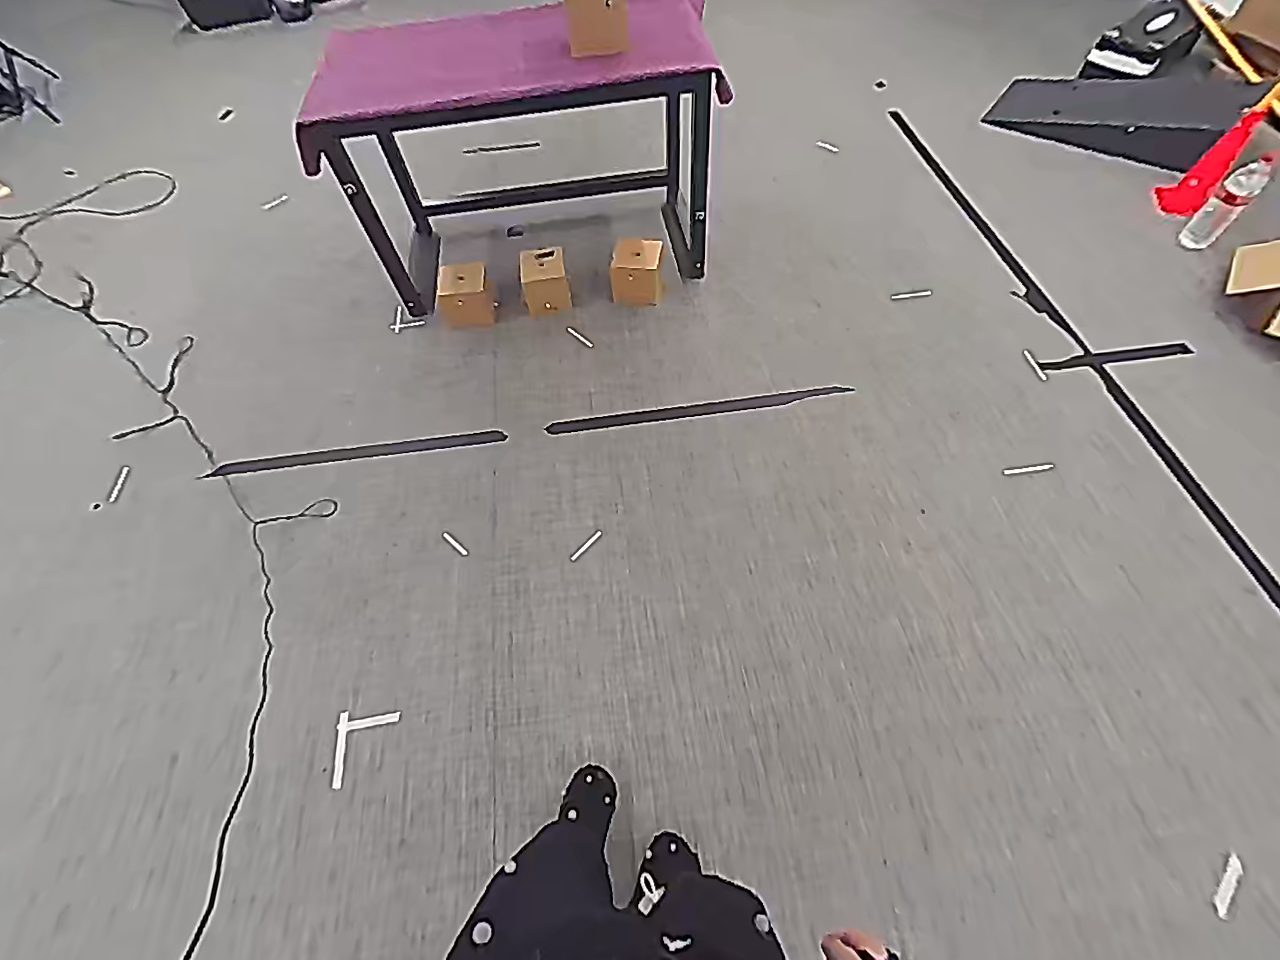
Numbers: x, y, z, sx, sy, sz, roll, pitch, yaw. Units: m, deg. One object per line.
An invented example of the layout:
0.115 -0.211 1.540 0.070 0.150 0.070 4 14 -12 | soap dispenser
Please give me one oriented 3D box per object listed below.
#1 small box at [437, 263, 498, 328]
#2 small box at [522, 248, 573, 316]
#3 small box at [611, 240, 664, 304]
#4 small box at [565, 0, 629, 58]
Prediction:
-0.658 -0.706 2.081 0.179 0.176 0.168 -7 60 -1 | small box
-0.358 -0.764 2.091 0.168 0.176 0.179 -9 60 -1 | small box
-0.003 -0.801 2.089 0.179 0.176 0.168 6 60 9 | small box
-0.127 -1.384 1.596 0.179 0.176 0.168 -7 58 1 | small box
